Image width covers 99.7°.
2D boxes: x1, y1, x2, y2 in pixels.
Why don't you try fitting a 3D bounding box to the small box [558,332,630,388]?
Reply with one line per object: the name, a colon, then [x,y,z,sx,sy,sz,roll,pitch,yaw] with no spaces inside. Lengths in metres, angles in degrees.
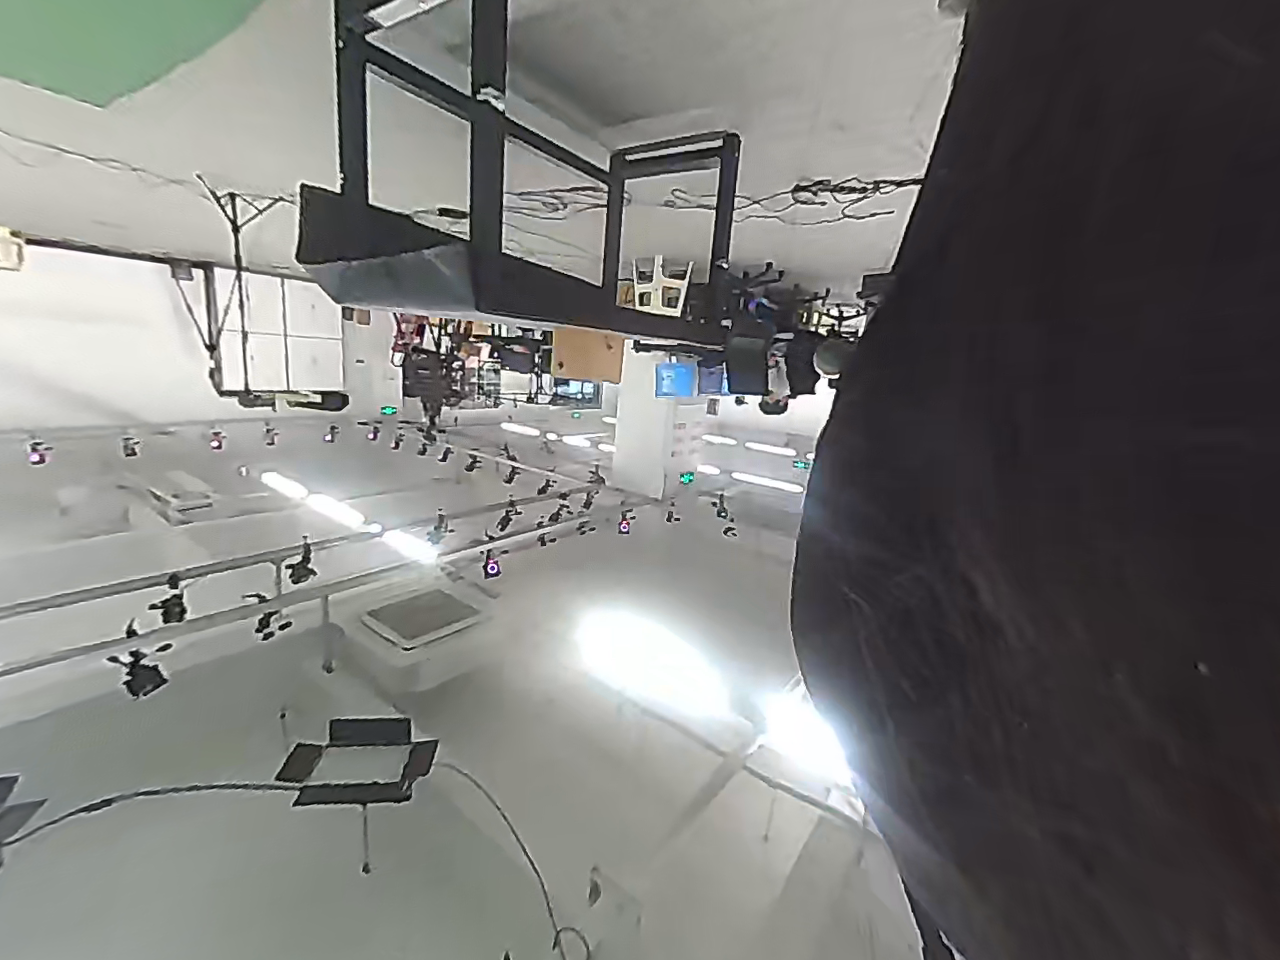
small box: [-0.150,-0.400,1.797,0.179,0.176,0.168,14,-164,34]
